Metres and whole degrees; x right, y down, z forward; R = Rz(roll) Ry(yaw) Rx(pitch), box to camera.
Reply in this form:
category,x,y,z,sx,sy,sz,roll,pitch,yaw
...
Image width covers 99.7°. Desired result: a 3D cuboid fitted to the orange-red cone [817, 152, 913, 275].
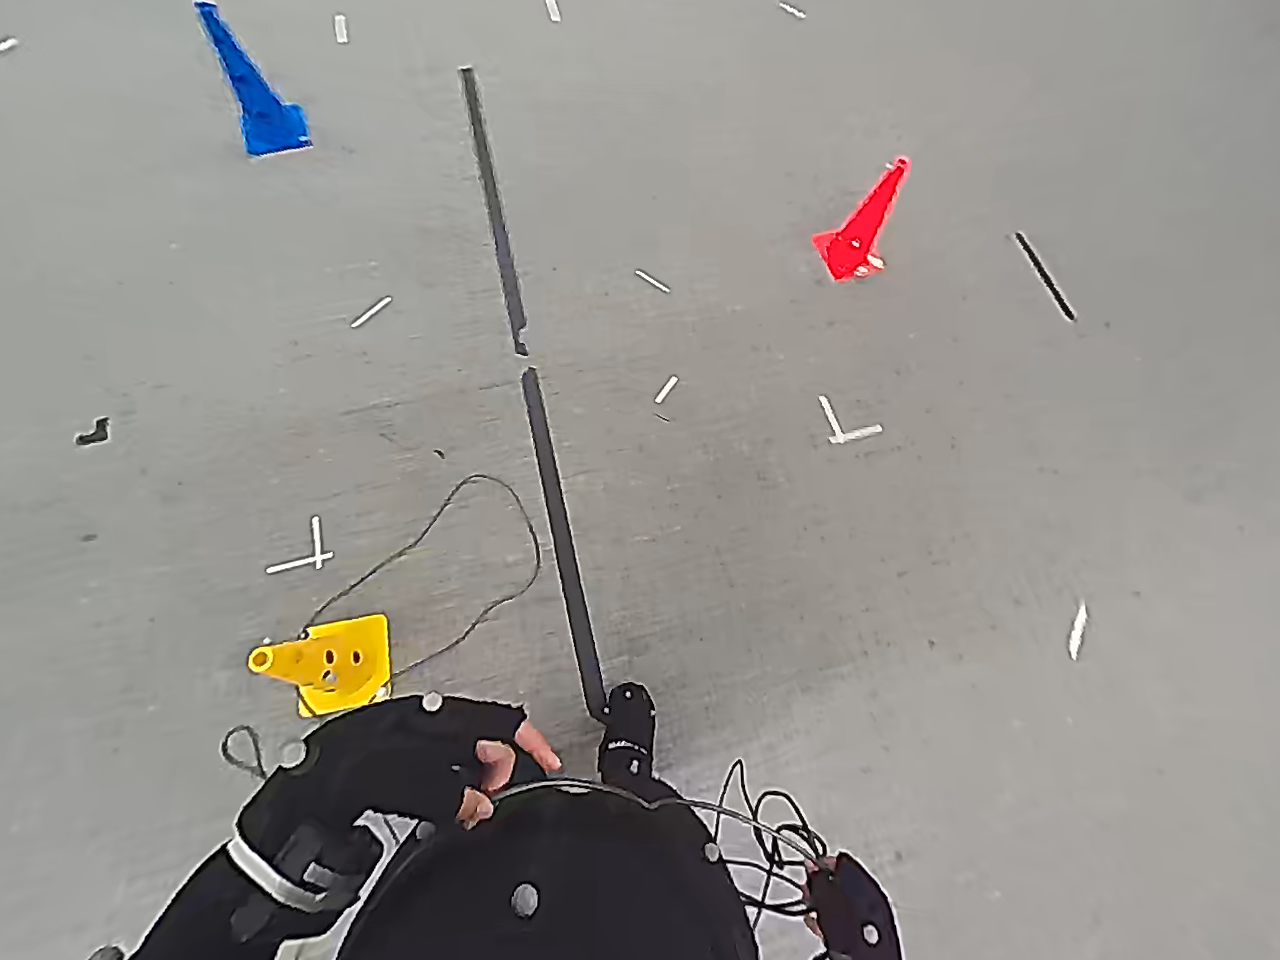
category,x,y,z,sx,sy,sz,roll,pitch,yaw
orange-red cone,0.732,-0.845,1.679,0.198,0.360,0.199,-16,71,-11

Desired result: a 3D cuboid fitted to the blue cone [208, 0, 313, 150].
category,x,y,z,sx,sy,sz,roll,pitch,yaw
blue cone,-1.187,-1.234,1.646,0.192,0.380,0.193,-17,72,-11
